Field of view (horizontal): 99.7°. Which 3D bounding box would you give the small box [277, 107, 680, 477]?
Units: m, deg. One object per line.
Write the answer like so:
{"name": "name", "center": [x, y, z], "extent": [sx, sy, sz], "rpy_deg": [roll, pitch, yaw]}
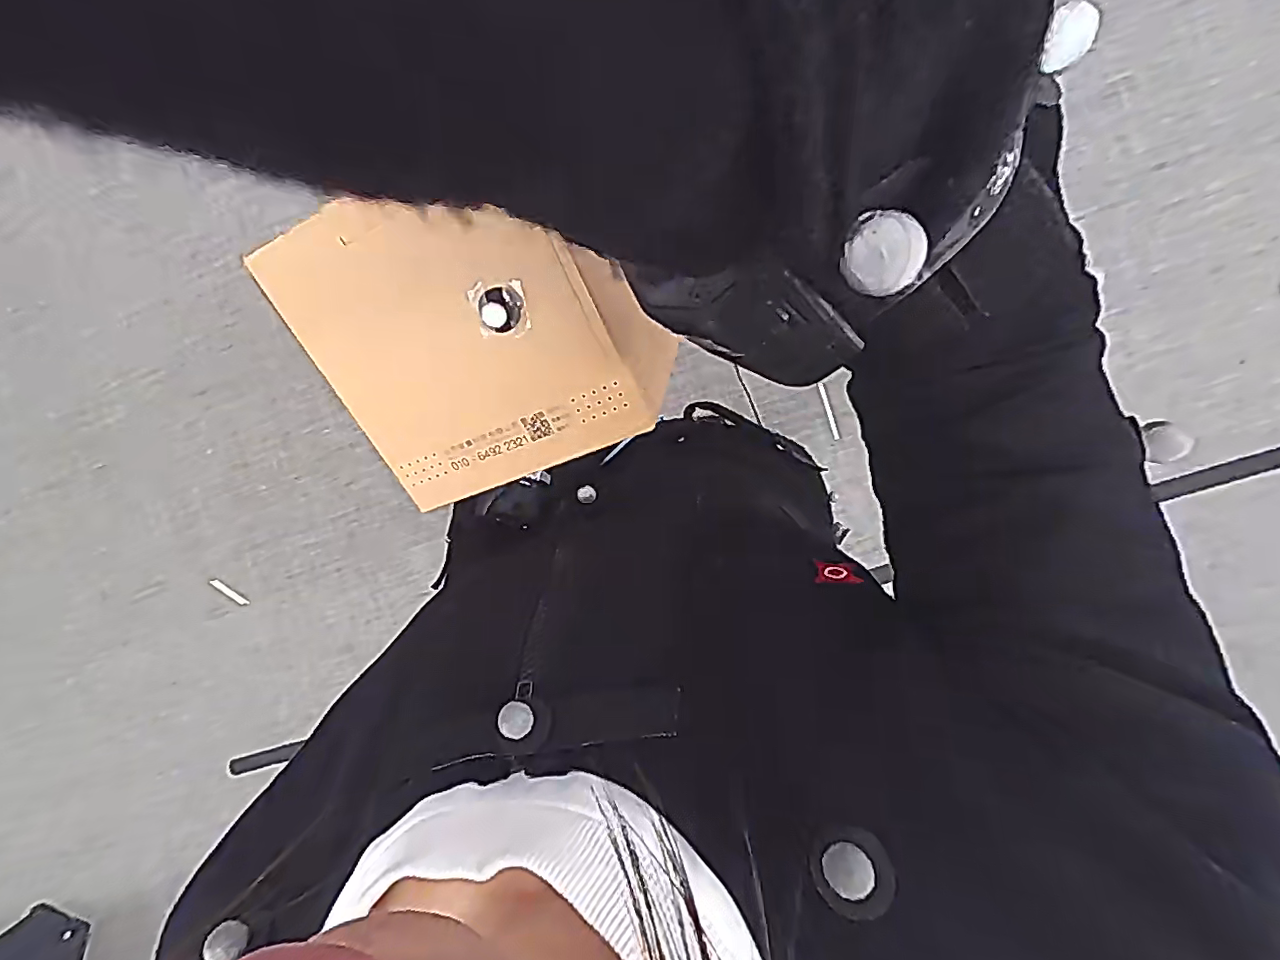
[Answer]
{"name": "small box", "center": [-0.082, -0.118, 0.373], "extent": [0.168, 0.179, 0.176], "rpy_deg": [-17, 115, 20]}
